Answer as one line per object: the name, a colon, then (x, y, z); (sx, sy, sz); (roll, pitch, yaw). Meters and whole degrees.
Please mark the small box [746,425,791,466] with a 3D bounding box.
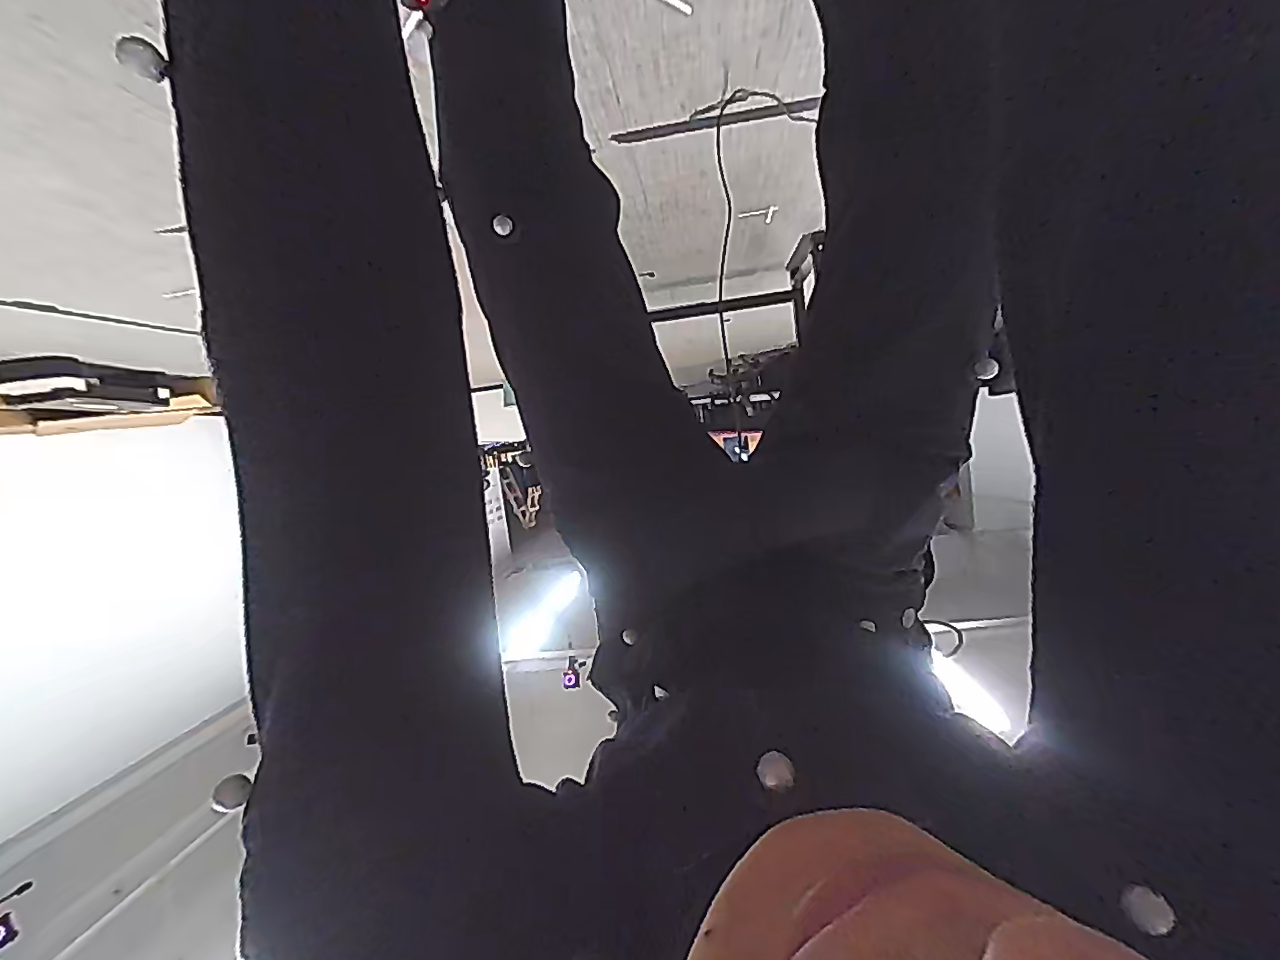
small box: (0.600, -0.165, 2.550); (0.168, 0.176, 0.179); (-7, -175, 1)
